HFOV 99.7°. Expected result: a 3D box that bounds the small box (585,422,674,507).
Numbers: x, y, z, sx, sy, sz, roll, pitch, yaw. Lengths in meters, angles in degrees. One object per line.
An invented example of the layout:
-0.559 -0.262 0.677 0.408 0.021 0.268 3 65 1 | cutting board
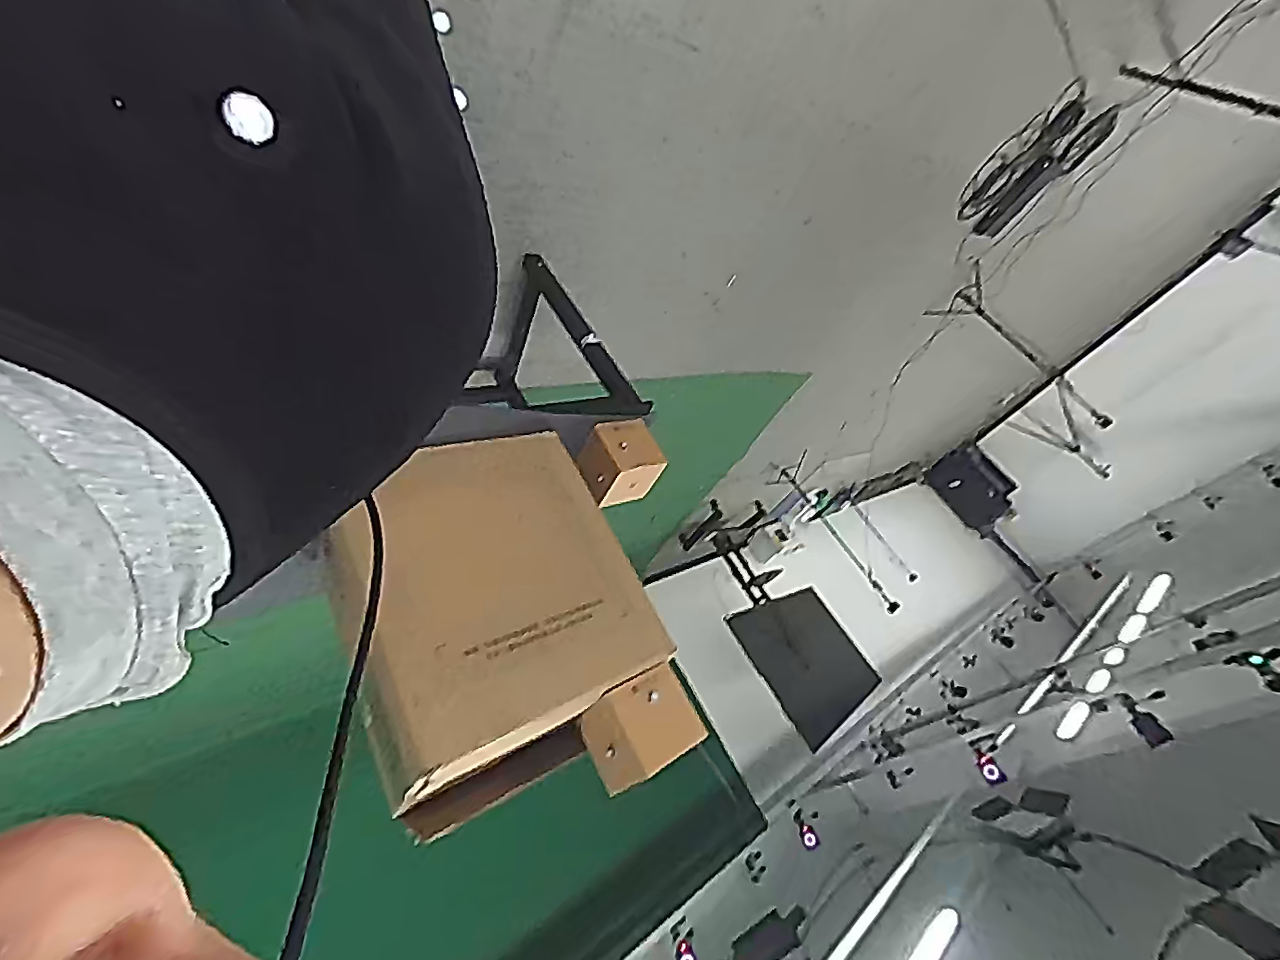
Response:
-0.037 -0.052 1.549 0.168 0.176 0.179 -12 150 -36 | small box

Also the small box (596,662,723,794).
0.031 0.506 1.117 0.168 0.176 0.179 -14 149 -39 | small box
